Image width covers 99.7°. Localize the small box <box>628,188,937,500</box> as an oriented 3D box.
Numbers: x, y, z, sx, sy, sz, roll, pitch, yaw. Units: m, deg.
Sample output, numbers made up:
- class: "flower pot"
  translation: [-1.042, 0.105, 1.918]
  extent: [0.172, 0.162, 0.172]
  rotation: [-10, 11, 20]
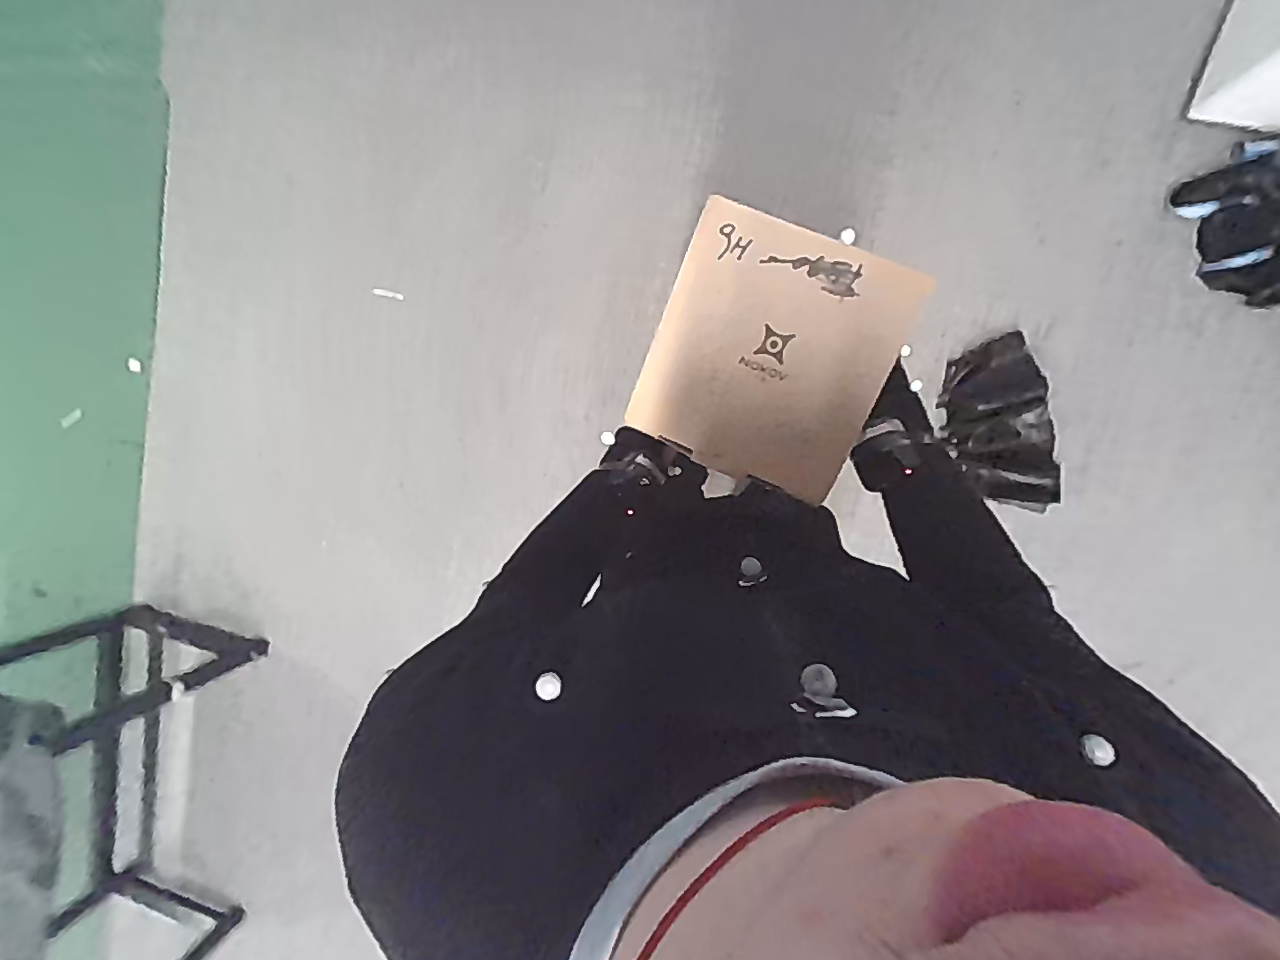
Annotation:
- class: "small box"
  translation: [0.109, -0.109, 0.461]
  extent: [0.168, 0.176, 0.179]
  rotation: [23, 106, 6]
